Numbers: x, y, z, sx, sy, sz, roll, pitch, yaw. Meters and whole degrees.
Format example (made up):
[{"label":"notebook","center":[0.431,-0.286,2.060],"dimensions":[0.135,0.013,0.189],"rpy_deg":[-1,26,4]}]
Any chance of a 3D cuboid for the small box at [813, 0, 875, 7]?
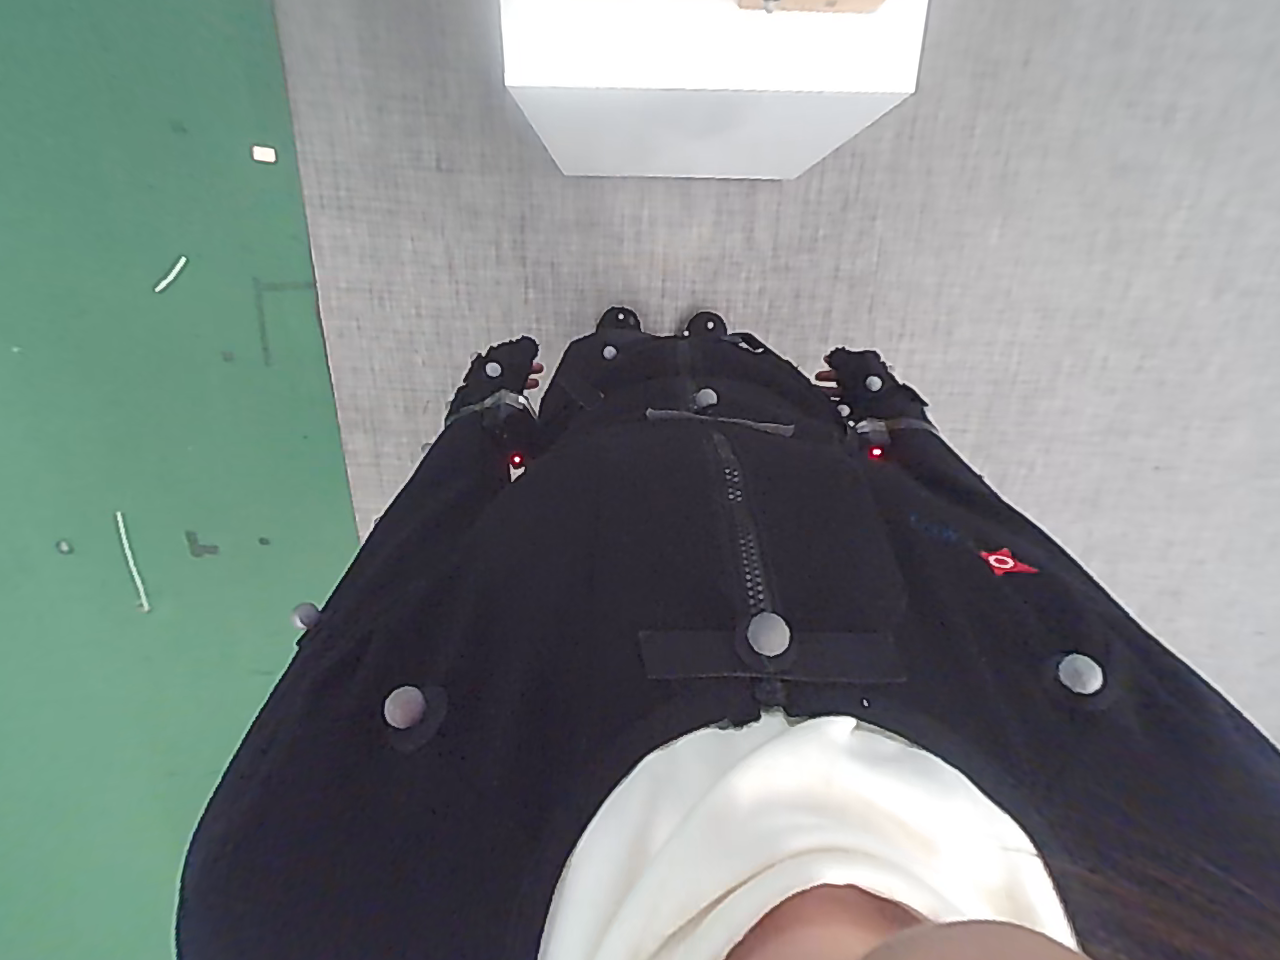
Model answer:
[{"label":"small box","center":[0.200,-0.616,0.538],"dimensions":[0.168,0.176,0.179],"rpy_deg":[2,108,0]}]
